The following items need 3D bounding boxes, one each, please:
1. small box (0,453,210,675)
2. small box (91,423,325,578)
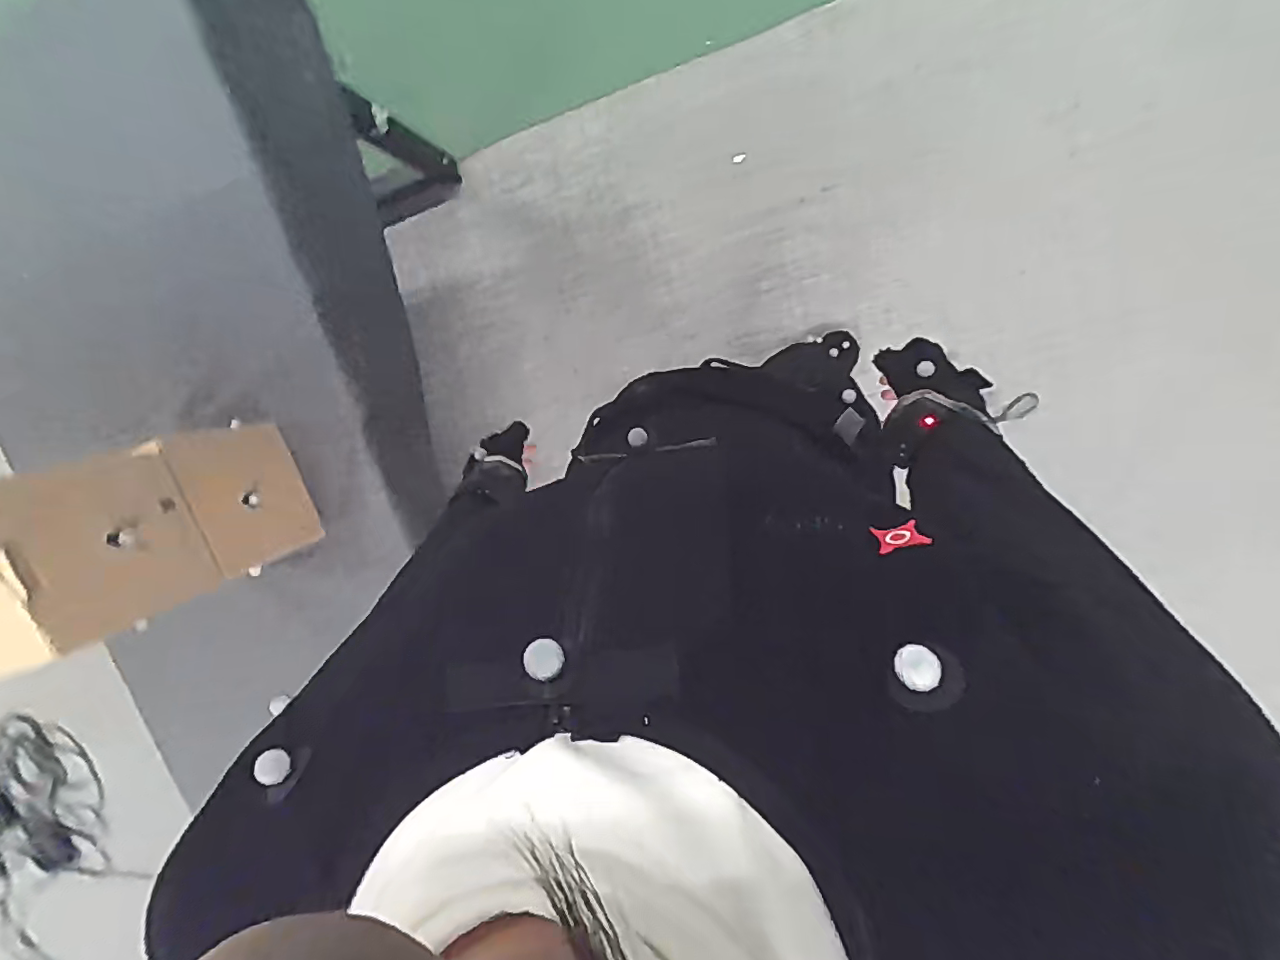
[{"bbox_3d":[-0.596,0.082,0.555,0.179,0.176,0.168,-17,101,13],"label":"small box"},{"bbox_3d":[-0.566,0.033,0.708,0.168,0.176,0.179,-20,99,14],"label":"small box"}]
